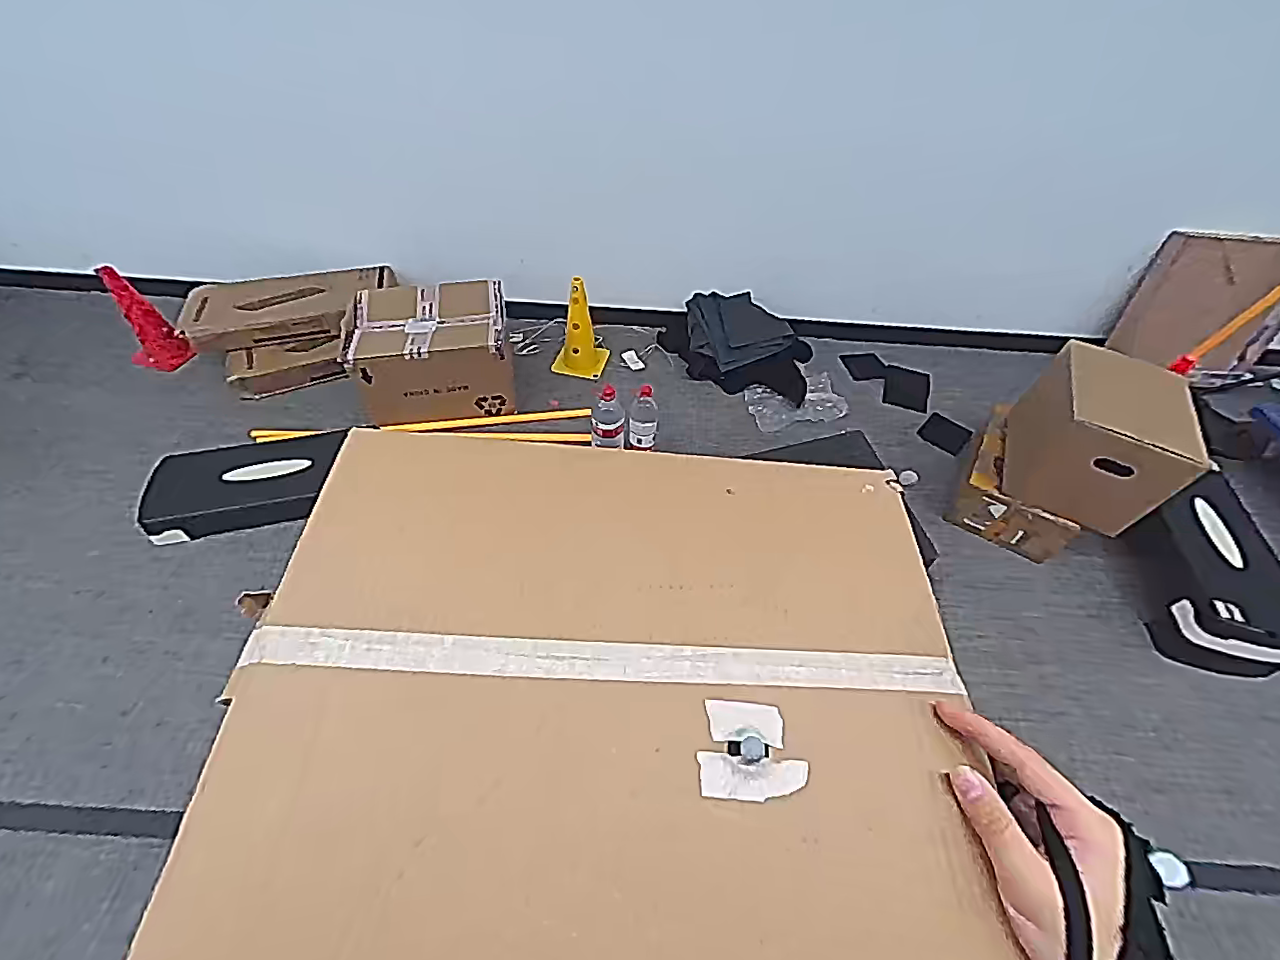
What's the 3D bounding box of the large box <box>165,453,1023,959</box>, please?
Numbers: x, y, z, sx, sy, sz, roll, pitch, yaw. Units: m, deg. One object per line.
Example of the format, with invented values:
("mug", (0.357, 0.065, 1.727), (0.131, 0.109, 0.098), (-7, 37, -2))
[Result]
("large box", (-0.026, 0.203, 0.443), (0.408, 0.320, 0.320), (5, 55, -5))
